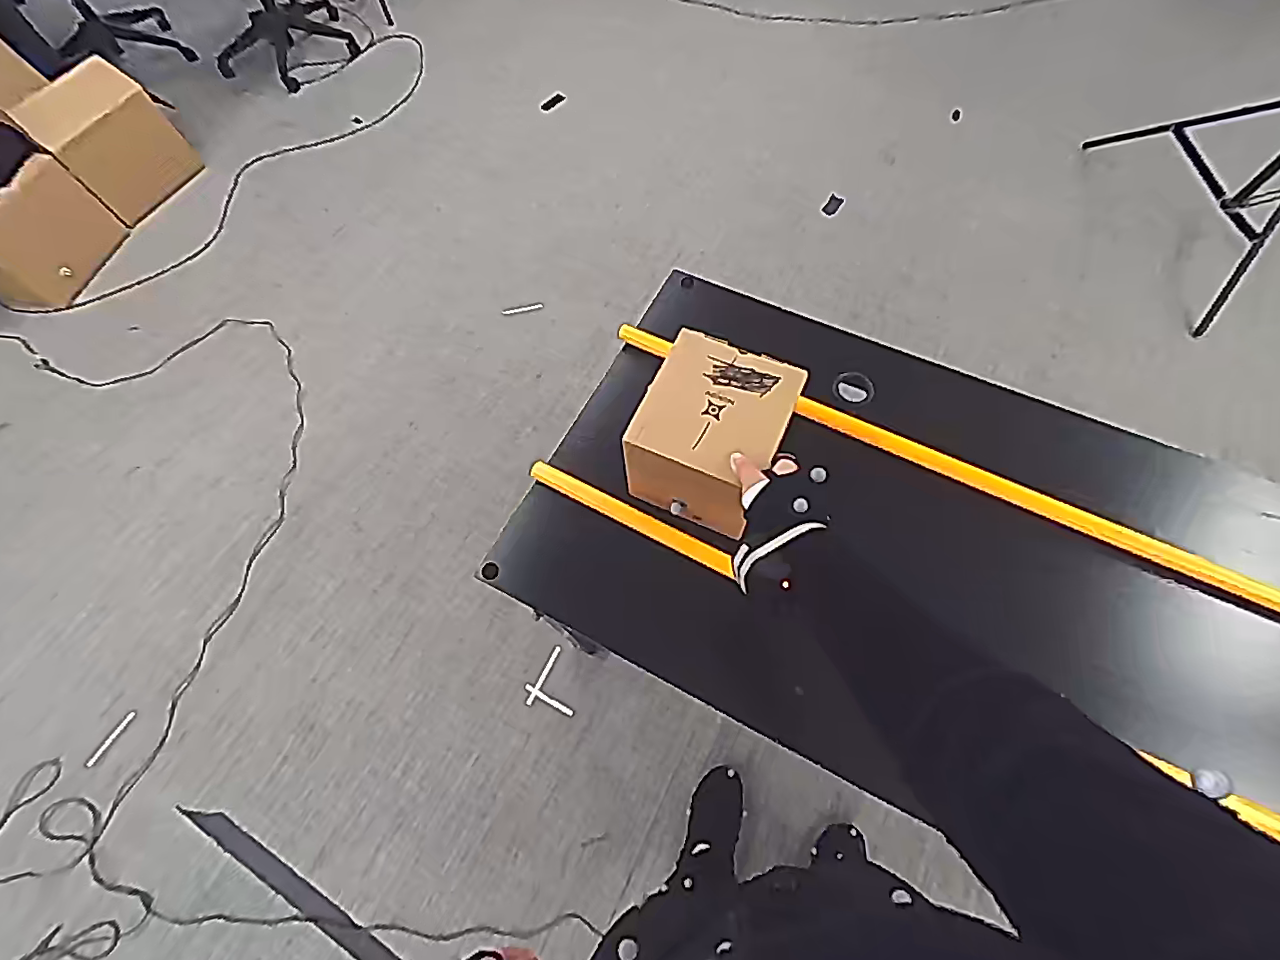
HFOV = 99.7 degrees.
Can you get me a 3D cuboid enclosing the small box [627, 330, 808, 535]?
[{"bbox_3d":[0.095,-0.055,0.704,0.168,0.176,0.179,23,69,13],"label":"small box"}]
